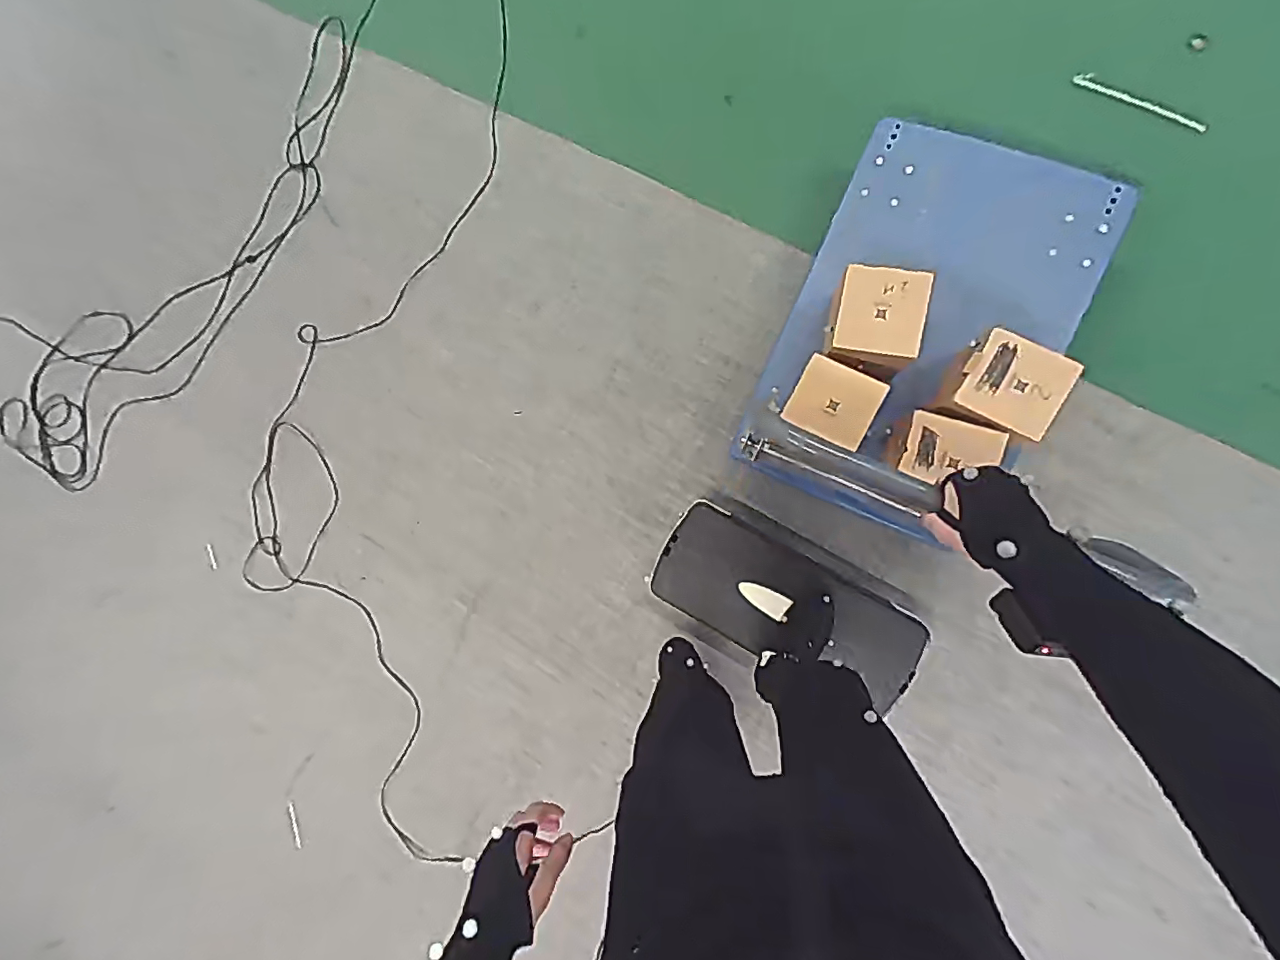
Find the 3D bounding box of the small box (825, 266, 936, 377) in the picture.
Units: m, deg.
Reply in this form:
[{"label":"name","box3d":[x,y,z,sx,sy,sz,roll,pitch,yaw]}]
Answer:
[{"label":"small box","box3d":[0.502,-0.329,1.156,0.168,0.176,0.179,12,89,11]}]
